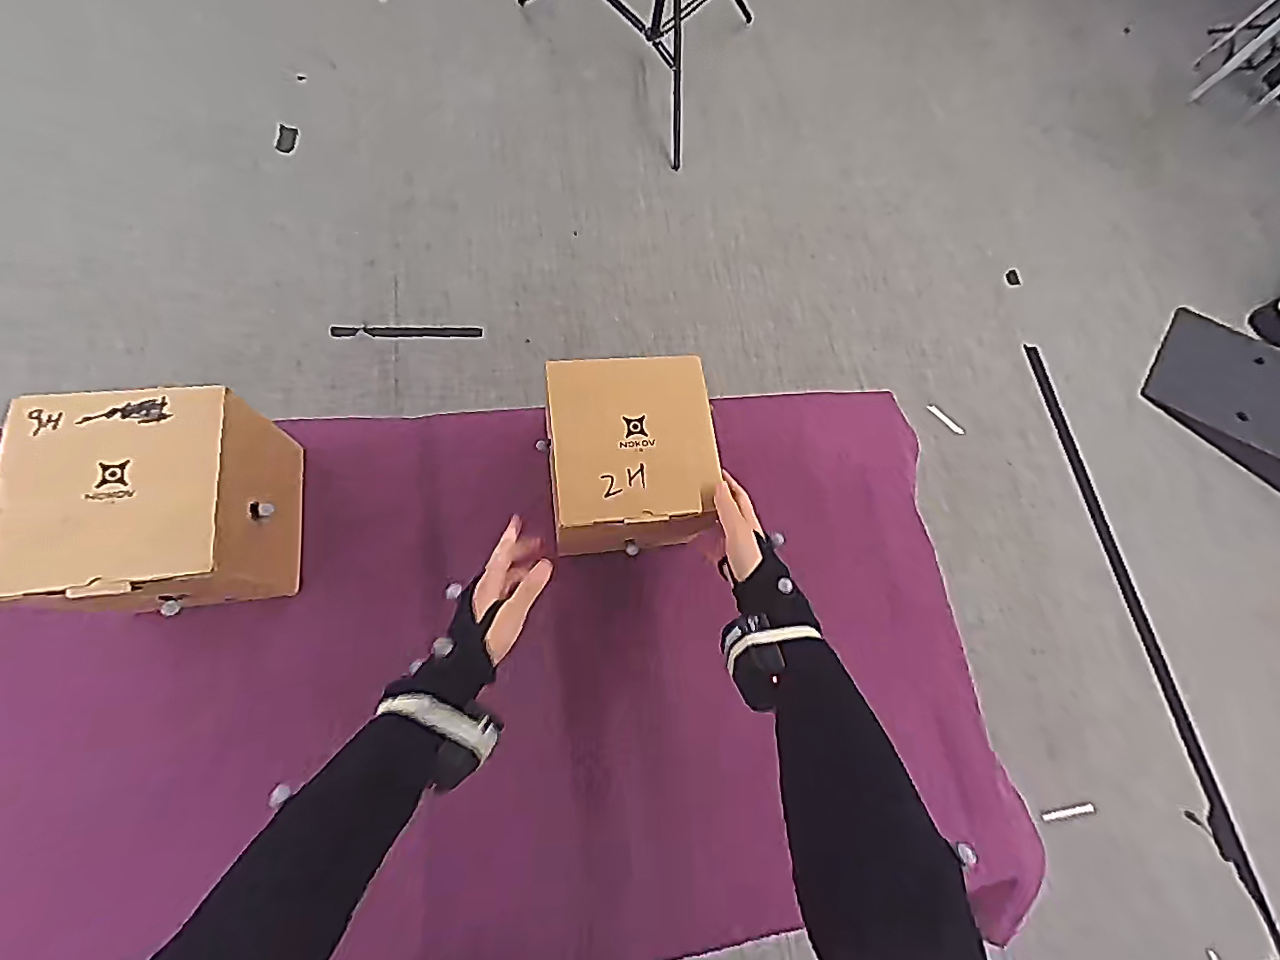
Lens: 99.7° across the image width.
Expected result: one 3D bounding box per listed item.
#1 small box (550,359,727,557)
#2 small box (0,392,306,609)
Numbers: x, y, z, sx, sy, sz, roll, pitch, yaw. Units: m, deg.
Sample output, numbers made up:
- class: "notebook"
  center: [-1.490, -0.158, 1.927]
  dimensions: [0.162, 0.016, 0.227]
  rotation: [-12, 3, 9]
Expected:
- class: "small box"
  center: [-0.016, -0.019, 0.619]
  dimensions: [0.168, 0.176, 0.179]
  rotation: [-5, 73, -10]
- class: "small box"
  center: [-0.453, 0.030, 0.533]
  dimensions: [0.168, 0.176, 0.179]
  rotation: [-5, 74, -11]
